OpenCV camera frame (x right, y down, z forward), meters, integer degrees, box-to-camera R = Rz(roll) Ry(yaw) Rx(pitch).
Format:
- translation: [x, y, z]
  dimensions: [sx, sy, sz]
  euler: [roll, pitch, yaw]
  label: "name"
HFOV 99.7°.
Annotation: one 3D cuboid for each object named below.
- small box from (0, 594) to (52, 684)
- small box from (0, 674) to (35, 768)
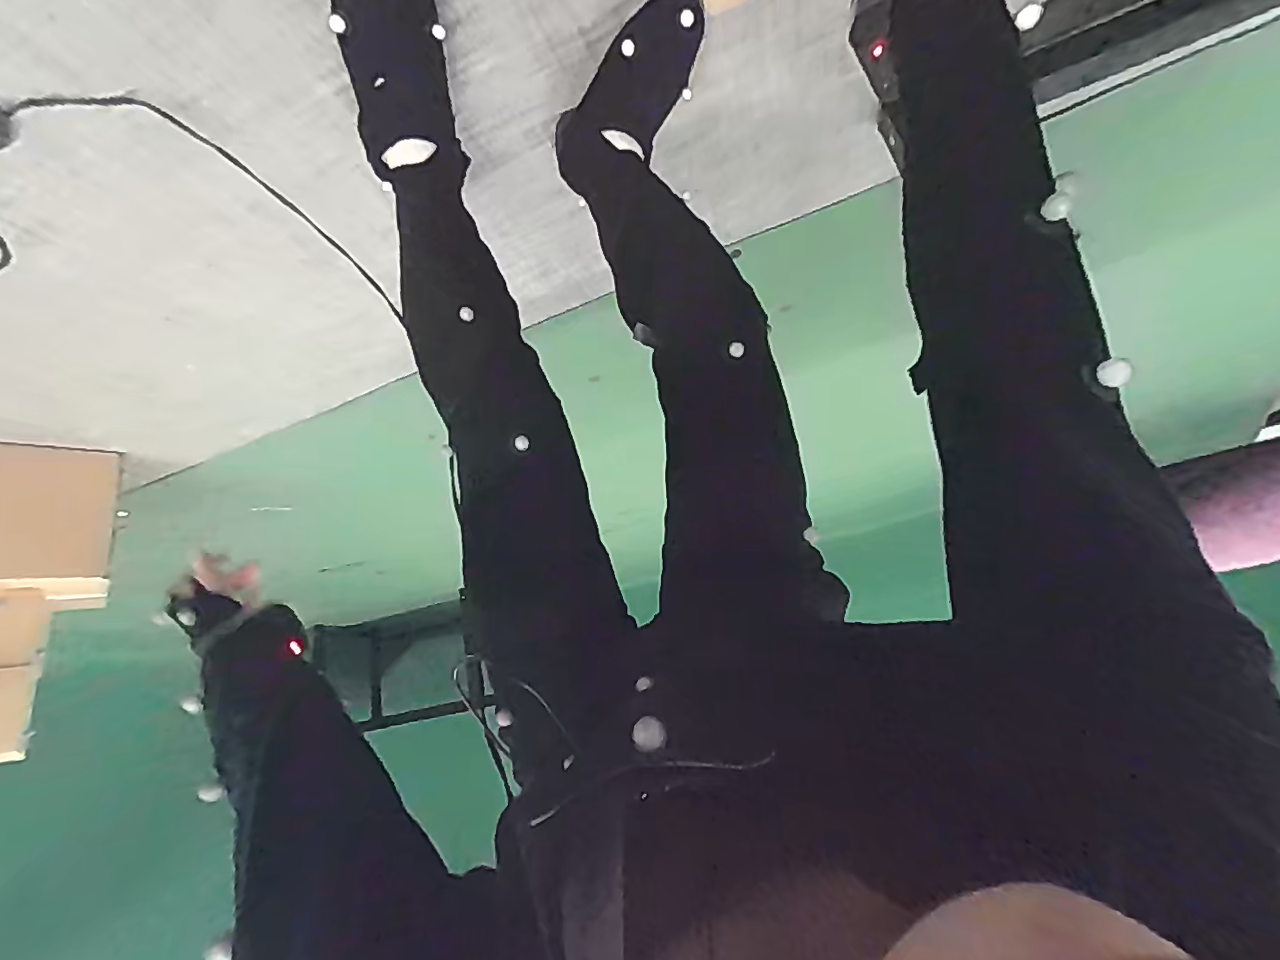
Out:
- translation: [-1.377, 0.342, 1.134]
  dimensions: [0.168, 0.176, 0.179]
  euler: [4, 154, -38]
  label: "small box"
- translation: [-1.337, 0.488, 1.069]
  dimensions: [0.168, 0.176, 0.179]
  euler: [7, 152, -43]
  label: "small box"
